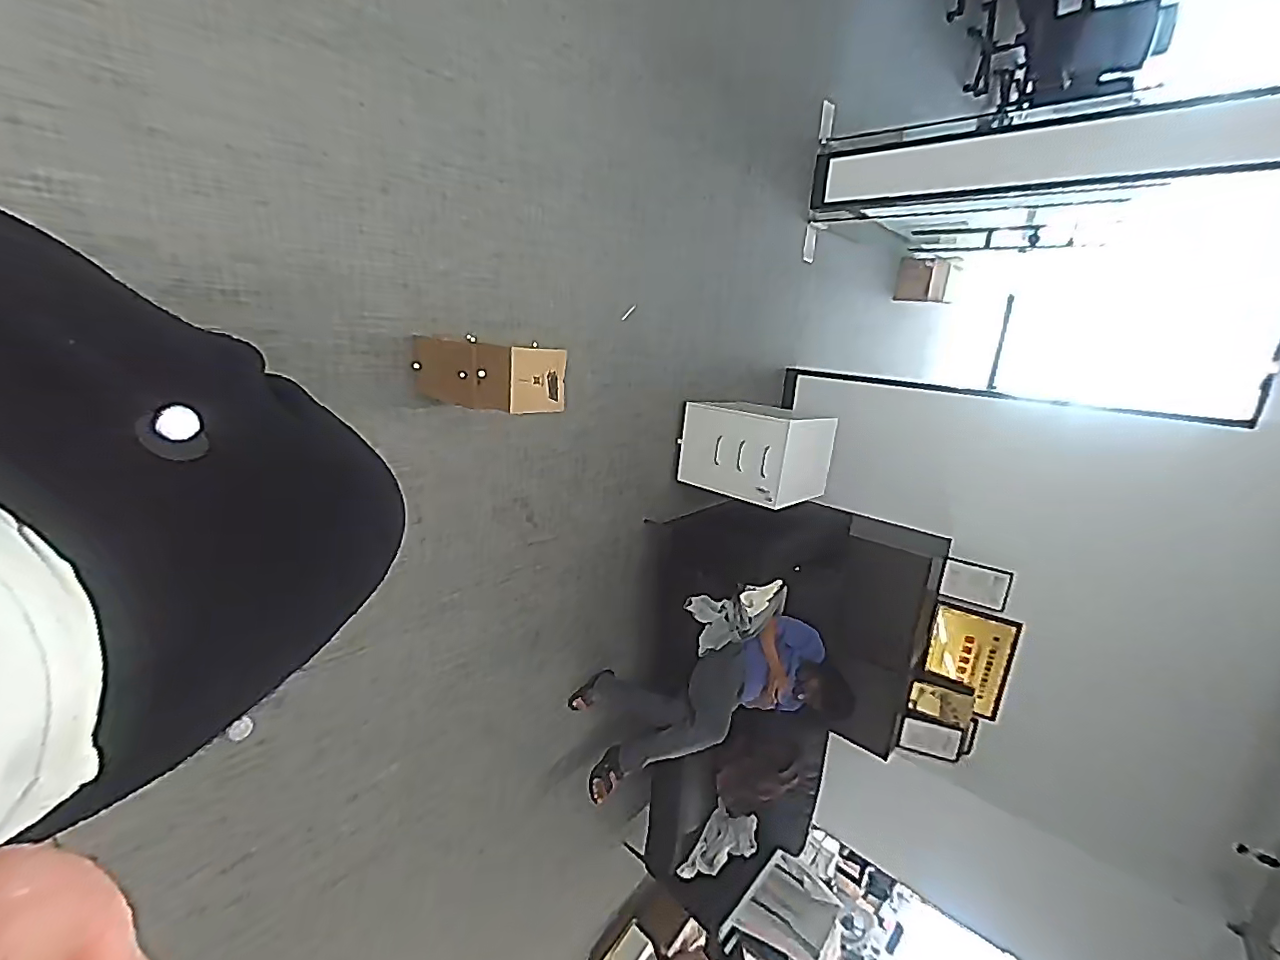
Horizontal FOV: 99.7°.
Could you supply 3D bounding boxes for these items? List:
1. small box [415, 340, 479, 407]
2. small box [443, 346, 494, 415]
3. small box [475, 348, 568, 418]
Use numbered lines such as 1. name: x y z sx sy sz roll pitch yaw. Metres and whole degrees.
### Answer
1. small box: -0.564 -0.323 1.635 0.168 0.176 0.179 -12 112 -48
2. small box: -0.443 -0.286 1.532 0.168 0.176 0.179 -13 113 -48
3. small box: -0.314 -0.260 1.434 0.179 0.176 0.168 -11 110 -47
